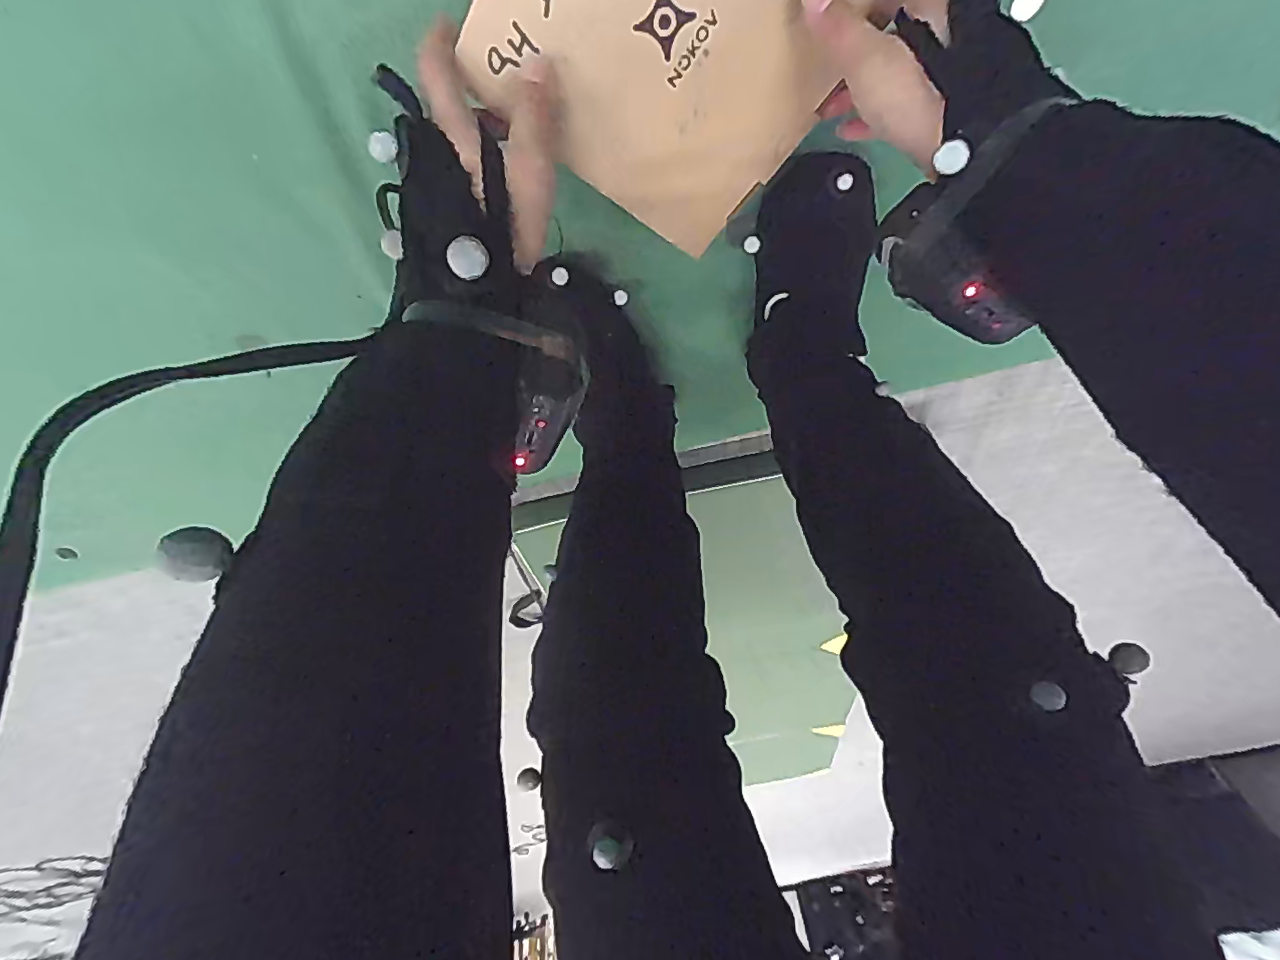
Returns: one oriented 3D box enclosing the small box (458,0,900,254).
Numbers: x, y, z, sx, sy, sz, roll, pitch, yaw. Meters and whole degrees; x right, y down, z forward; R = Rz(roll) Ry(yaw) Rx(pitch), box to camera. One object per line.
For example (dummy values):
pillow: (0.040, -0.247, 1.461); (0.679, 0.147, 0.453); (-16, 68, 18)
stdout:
small box: (0.012, -0.286, 0.330); (0.179, 0.176, 0.168); (23, 129, -32)
